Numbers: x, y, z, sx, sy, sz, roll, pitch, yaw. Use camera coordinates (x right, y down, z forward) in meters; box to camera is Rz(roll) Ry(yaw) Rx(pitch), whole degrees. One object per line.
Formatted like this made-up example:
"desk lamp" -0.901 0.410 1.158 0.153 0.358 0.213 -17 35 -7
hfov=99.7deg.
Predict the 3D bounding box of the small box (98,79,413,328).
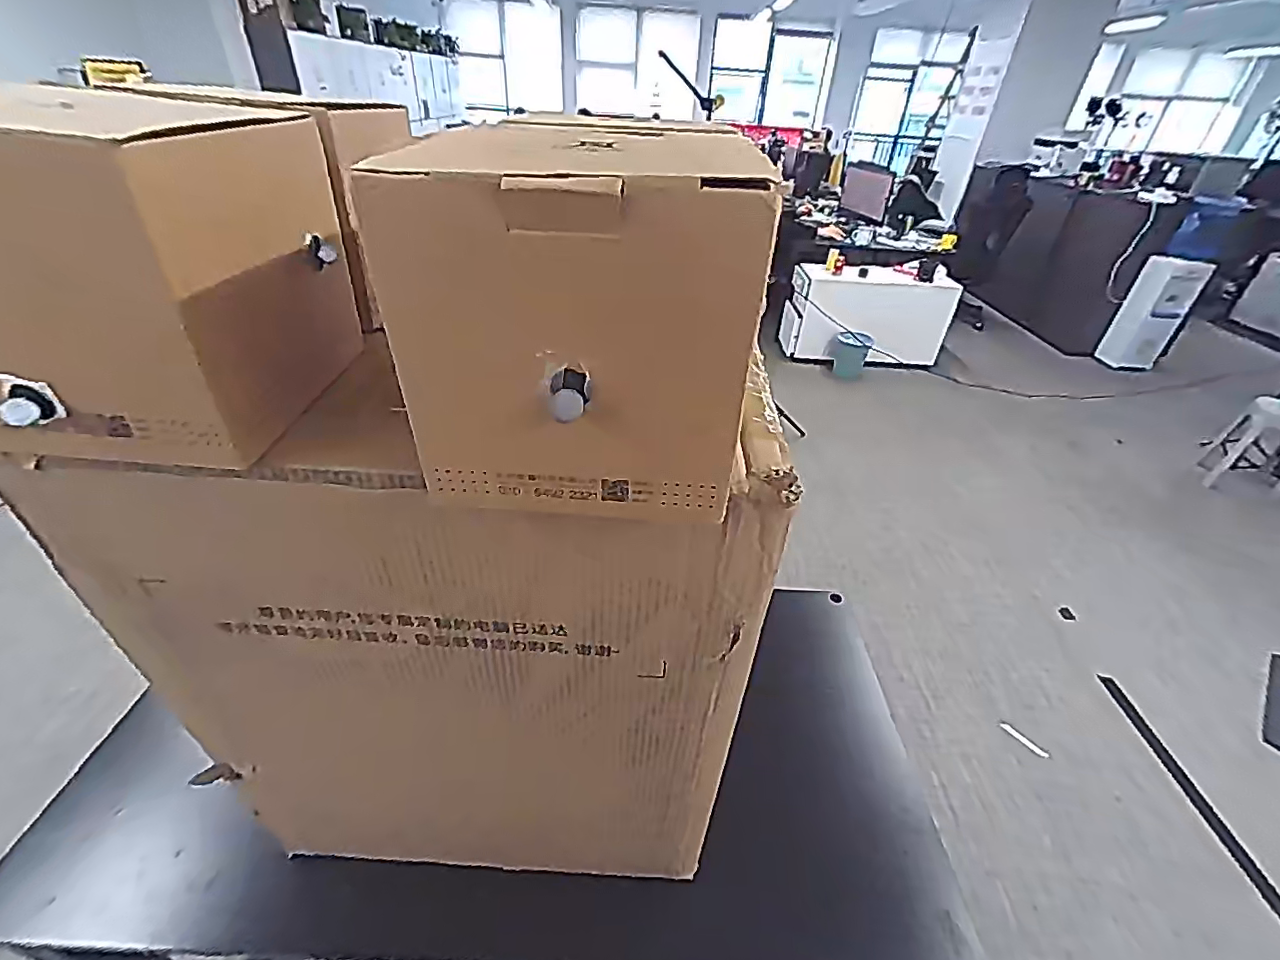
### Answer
"small box" -0.313 -0.253 0.500 0.168 0.176 0.179 2 34 -3

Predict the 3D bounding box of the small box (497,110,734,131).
"small box" -0.021 -0.219 0.479 0.168 0.176 0.179 1 35 -2

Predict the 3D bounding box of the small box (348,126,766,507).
"small box" -0.028 -0.100 0.318 0.168 0.176 0.179 3 37 1
